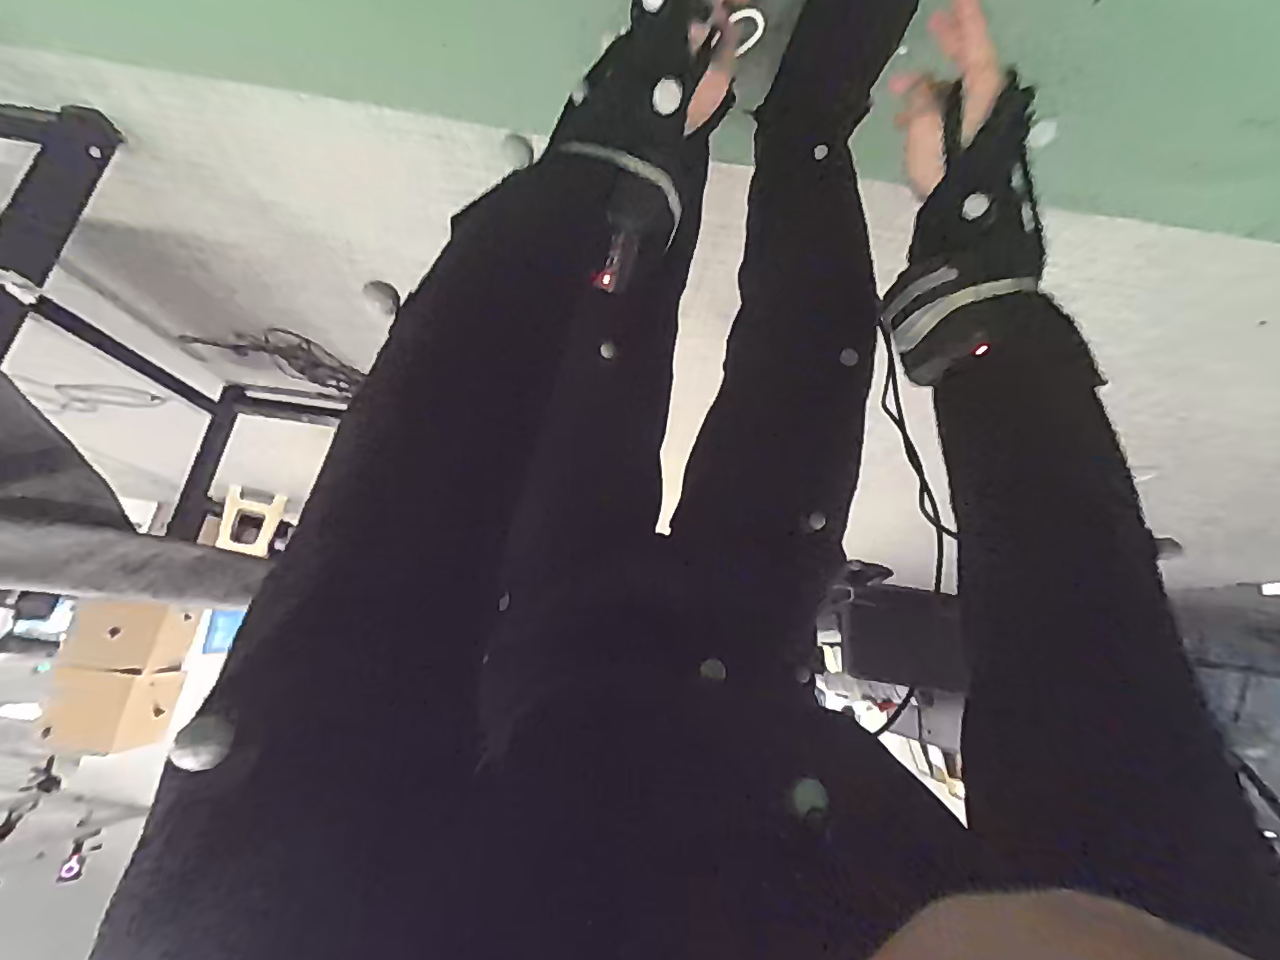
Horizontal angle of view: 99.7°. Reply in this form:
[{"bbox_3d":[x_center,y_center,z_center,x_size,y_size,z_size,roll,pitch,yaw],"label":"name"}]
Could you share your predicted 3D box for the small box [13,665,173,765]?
[{"bbox_3d":[-1.197,0.517,1.206,0.179,0.176,0.168,9,163,-3],"label":"small box"}]
